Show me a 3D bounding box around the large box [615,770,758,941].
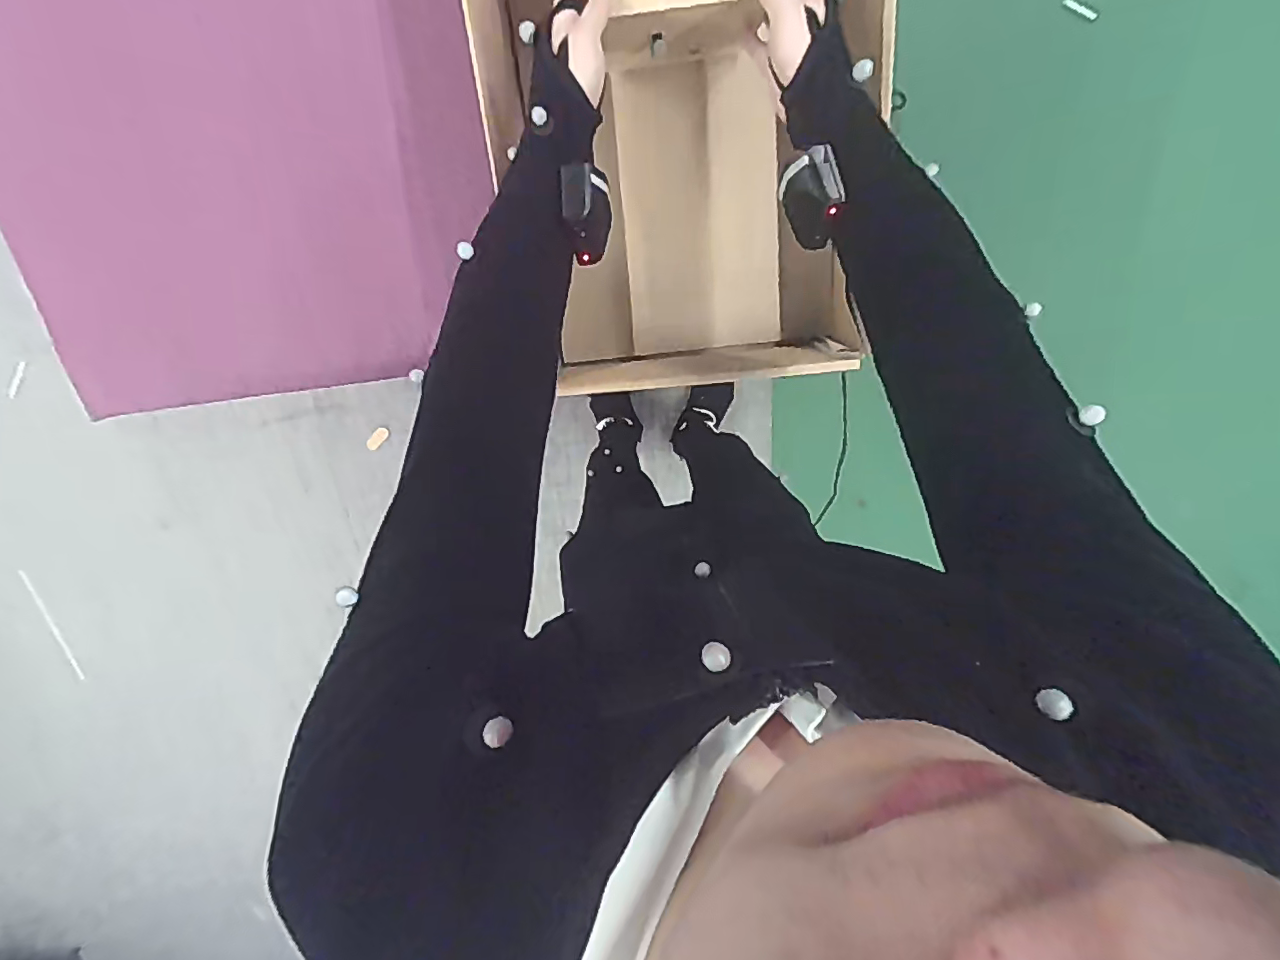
[{"bbox_3d":[0.159,1.364,1.979,0.408,0.320,0.320,-37,106,13],"label":"large box"}]

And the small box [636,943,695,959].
[{"bbox_3d":[0.082,1.535,1.607,0.179,0.176,0.168,-31,106,12],"label":"small box"}]

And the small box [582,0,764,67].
[{"bbox_3d":[0.027,-0.519,0.509,0.168,0.176,0.179,-5,113,3],"label":"small box"}]
